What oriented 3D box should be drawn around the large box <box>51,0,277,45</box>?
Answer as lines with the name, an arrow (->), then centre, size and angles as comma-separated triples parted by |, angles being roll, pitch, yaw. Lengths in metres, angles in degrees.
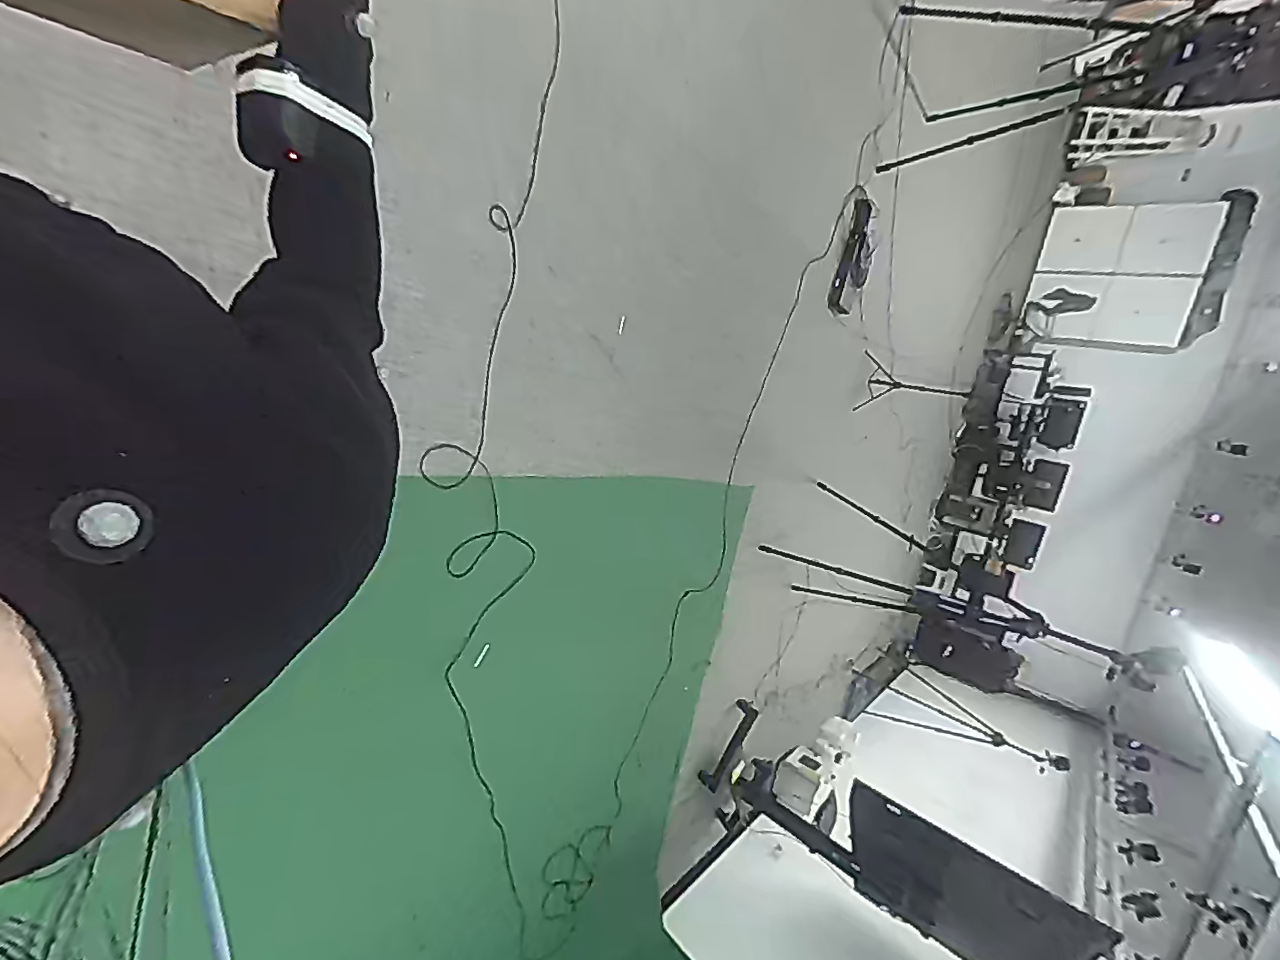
large box -> -0.483, -0.522, 0.305 | 0.408, 0.320, 0.320 | -10, 119, -47
